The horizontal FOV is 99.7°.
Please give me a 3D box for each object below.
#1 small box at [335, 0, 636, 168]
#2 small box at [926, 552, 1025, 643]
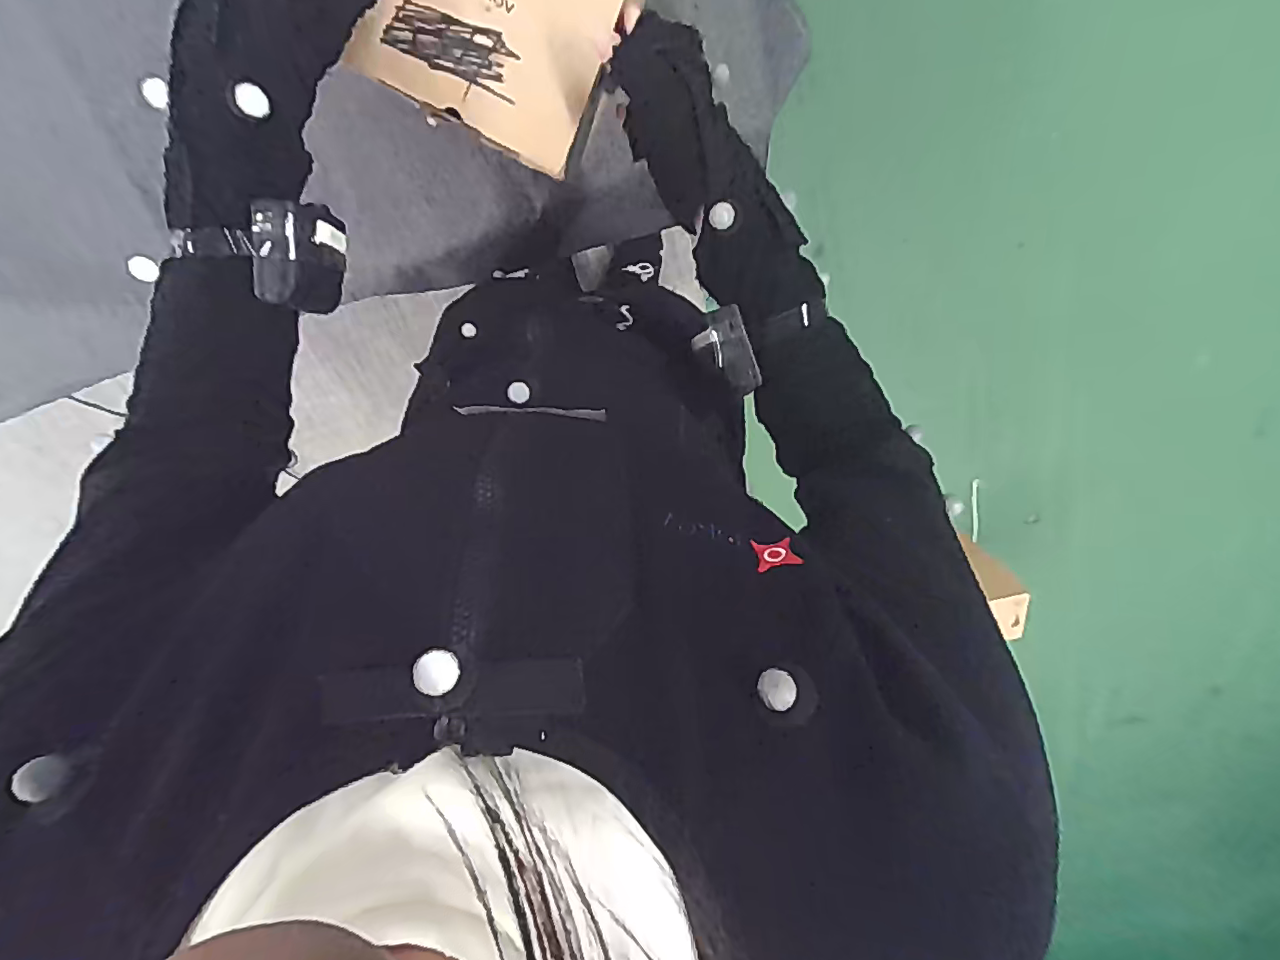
[{"bbox_3d":[-0.098,-0.361,0.410,0.168,0.176,0.179,20,115,-13],"label":"small box"},{"bbox_3d":[0.921,0.324,1.508,0.179,0.176,0.168,-11,120,3],"label":"small box"}]
